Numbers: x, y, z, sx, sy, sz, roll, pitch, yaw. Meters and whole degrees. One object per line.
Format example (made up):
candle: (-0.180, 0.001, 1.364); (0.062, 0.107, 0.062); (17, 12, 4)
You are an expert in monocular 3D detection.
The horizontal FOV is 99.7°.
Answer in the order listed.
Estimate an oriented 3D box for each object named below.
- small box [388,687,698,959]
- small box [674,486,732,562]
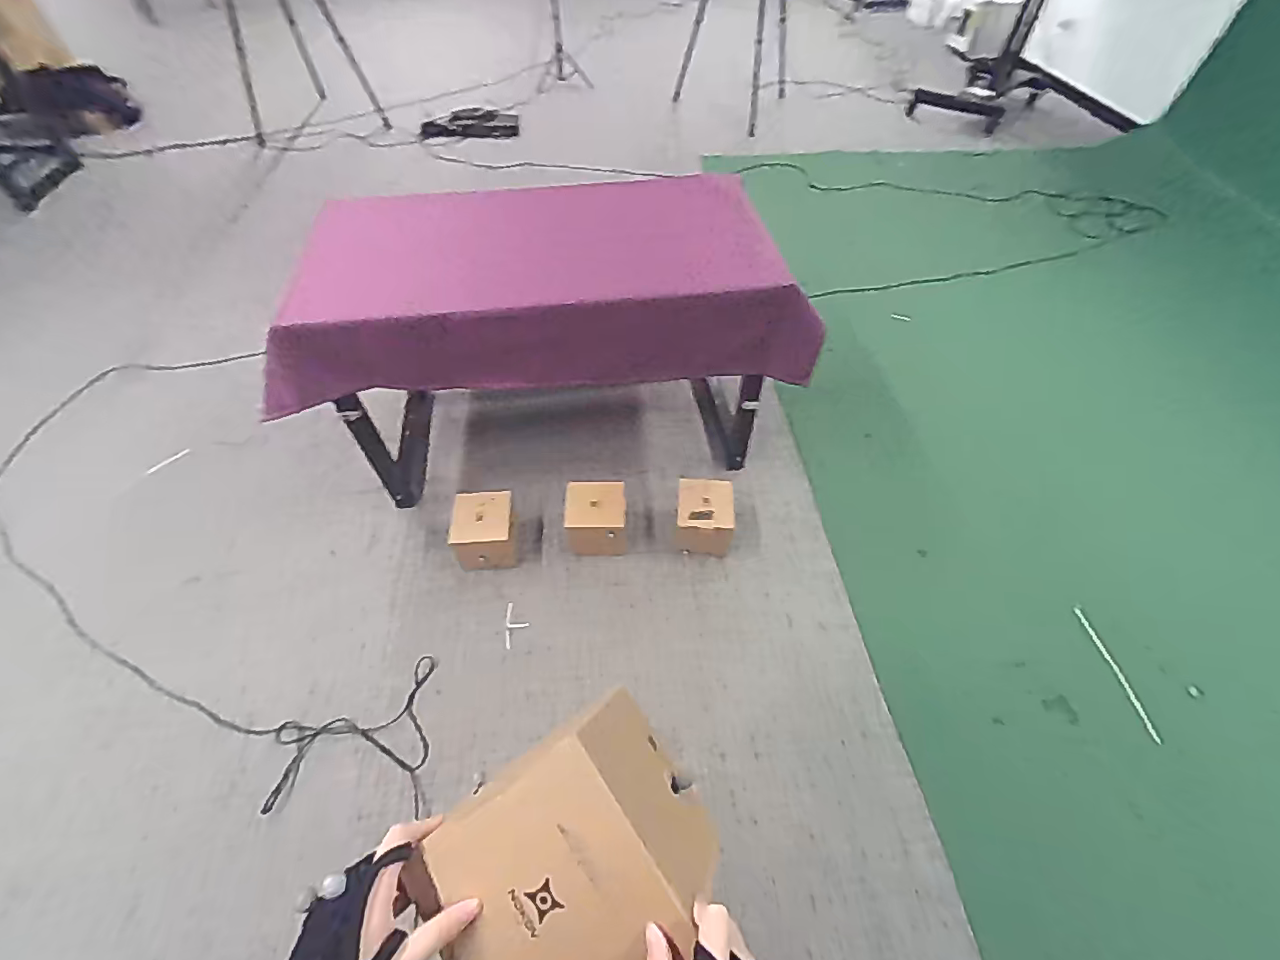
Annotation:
small box: (-0.065, 0.311, 0.468); (0.179, 0.176, 0.168); (-37, 77, 3)
small box: (0.191, 0.137, 1.672); (0.168, 0.176, 0.179); (2, 47, 1)
